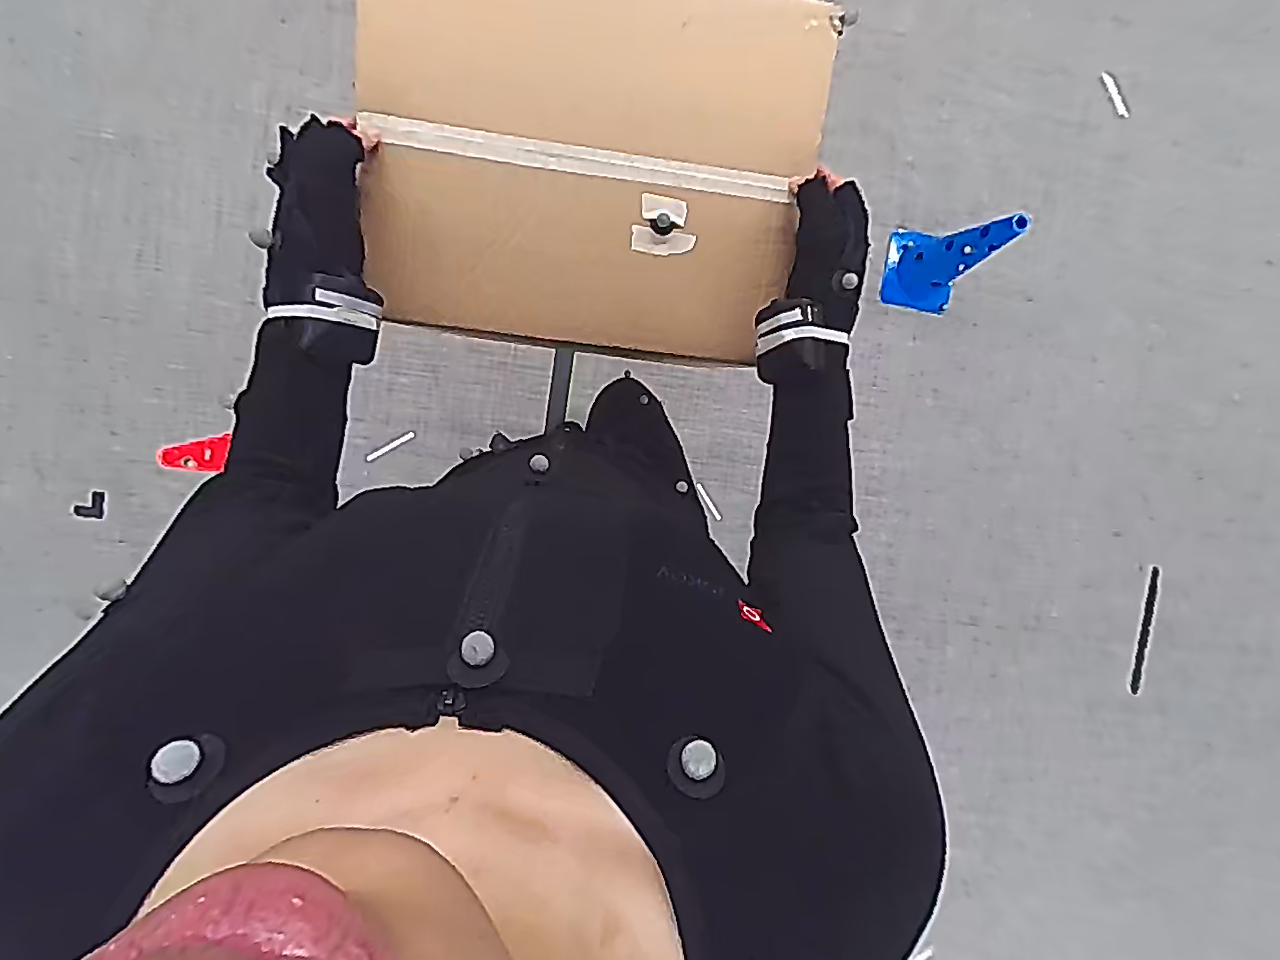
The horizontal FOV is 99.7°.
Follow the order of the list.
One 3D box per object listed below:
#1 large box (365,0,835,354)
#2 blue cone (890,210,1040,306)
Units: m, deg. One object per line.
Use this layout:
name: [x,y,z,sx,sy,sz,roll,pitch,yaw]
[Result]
large box: [-0.053,-0.326,0.628,0.408,0.320,0.320,6,102,-6]
blue cone: [0.798,-0.569,1.319,0.192,0.380,0.193,11,95,-6]
